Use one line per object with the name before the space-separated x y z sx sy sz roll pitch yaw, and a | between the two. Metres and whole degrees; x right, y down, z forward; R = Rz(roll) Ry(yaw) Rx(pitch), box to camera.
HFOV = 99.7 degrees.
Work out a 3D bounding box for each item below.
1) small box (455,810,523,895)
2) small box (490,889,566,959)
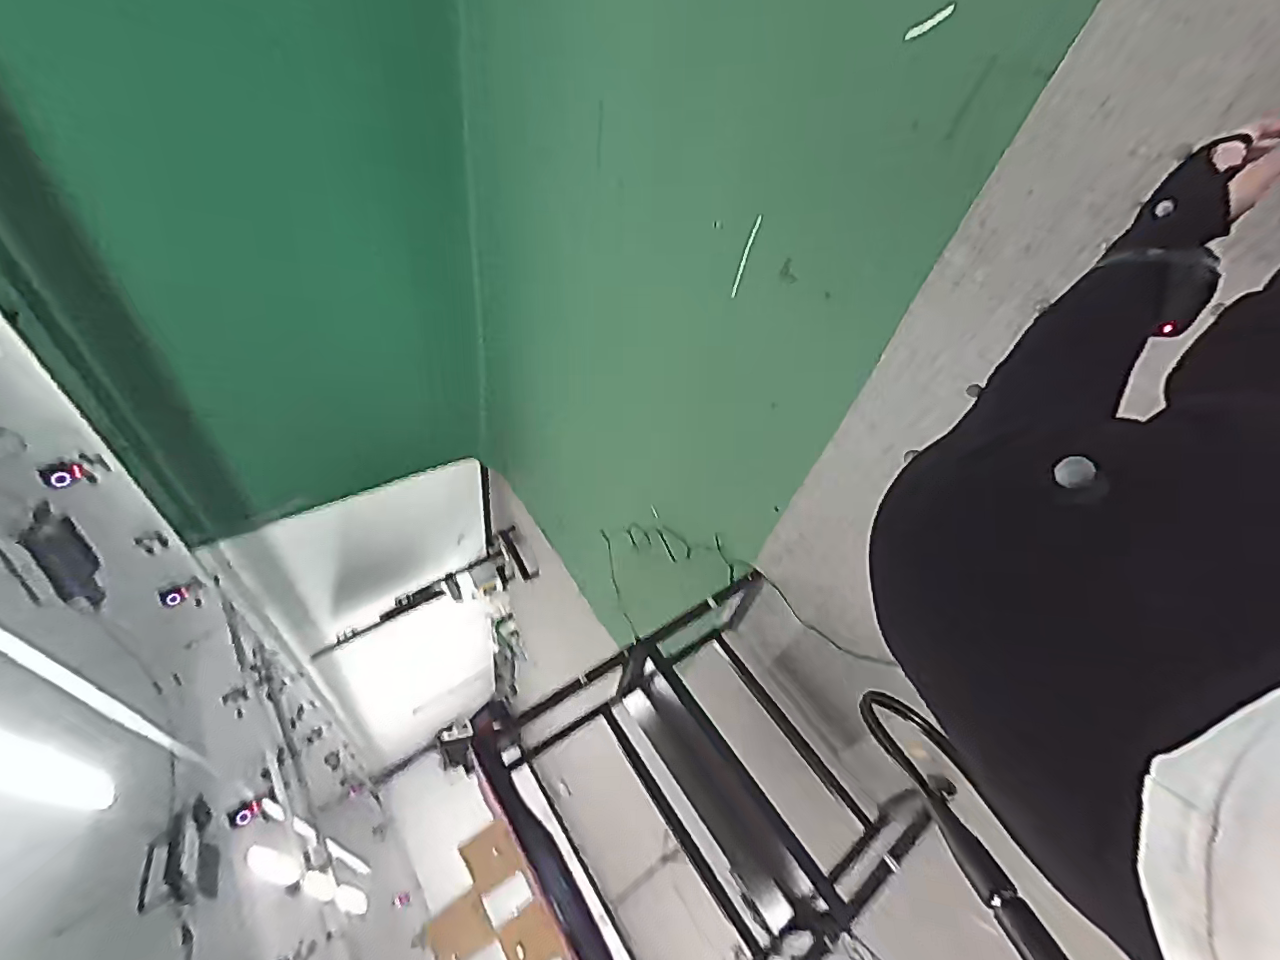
small box | -0.499 1.233 1.795 0.168 0.176 0.179 51 146 27
small box | -0.348 1.404 1.670 0.179 0.176 0.168 48 145 29
